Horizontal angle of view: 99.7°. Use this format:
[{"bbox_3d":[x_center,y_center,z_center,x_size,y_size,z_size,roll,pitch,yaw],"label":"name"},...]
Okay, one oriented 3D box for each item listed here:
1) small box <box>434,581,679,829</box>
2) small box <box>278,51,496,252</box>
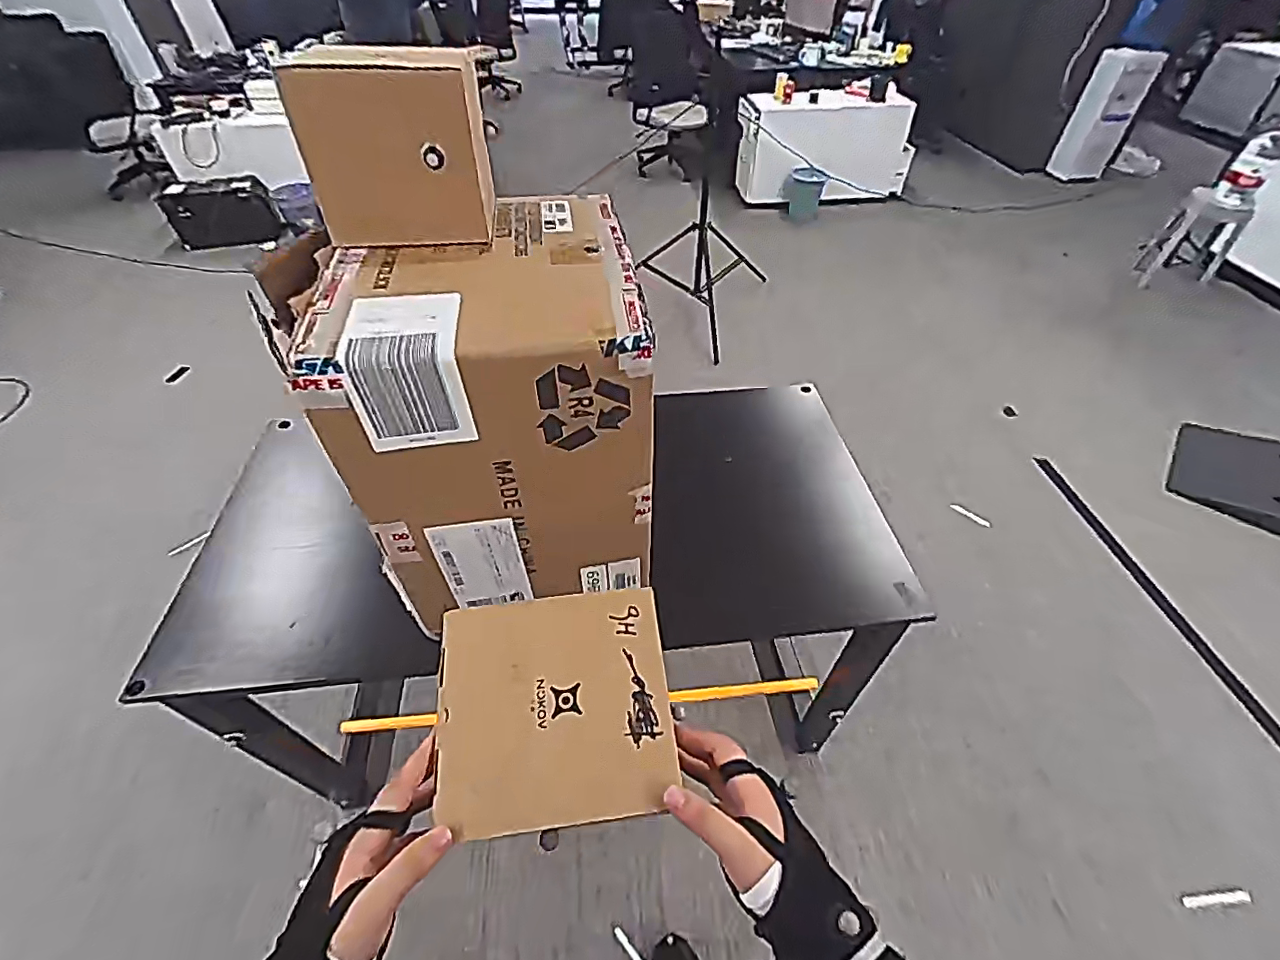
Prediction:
[{"bbox_3d":[-0.066,0.208,0.488,0.179,0.176,0.168,-6,57,-4],"label":"small box"},{"bbox_3d":[-0.269,-0.380,0.629,0.179,0.176,0.168,-6,44,-7],"label":"small box"}]
